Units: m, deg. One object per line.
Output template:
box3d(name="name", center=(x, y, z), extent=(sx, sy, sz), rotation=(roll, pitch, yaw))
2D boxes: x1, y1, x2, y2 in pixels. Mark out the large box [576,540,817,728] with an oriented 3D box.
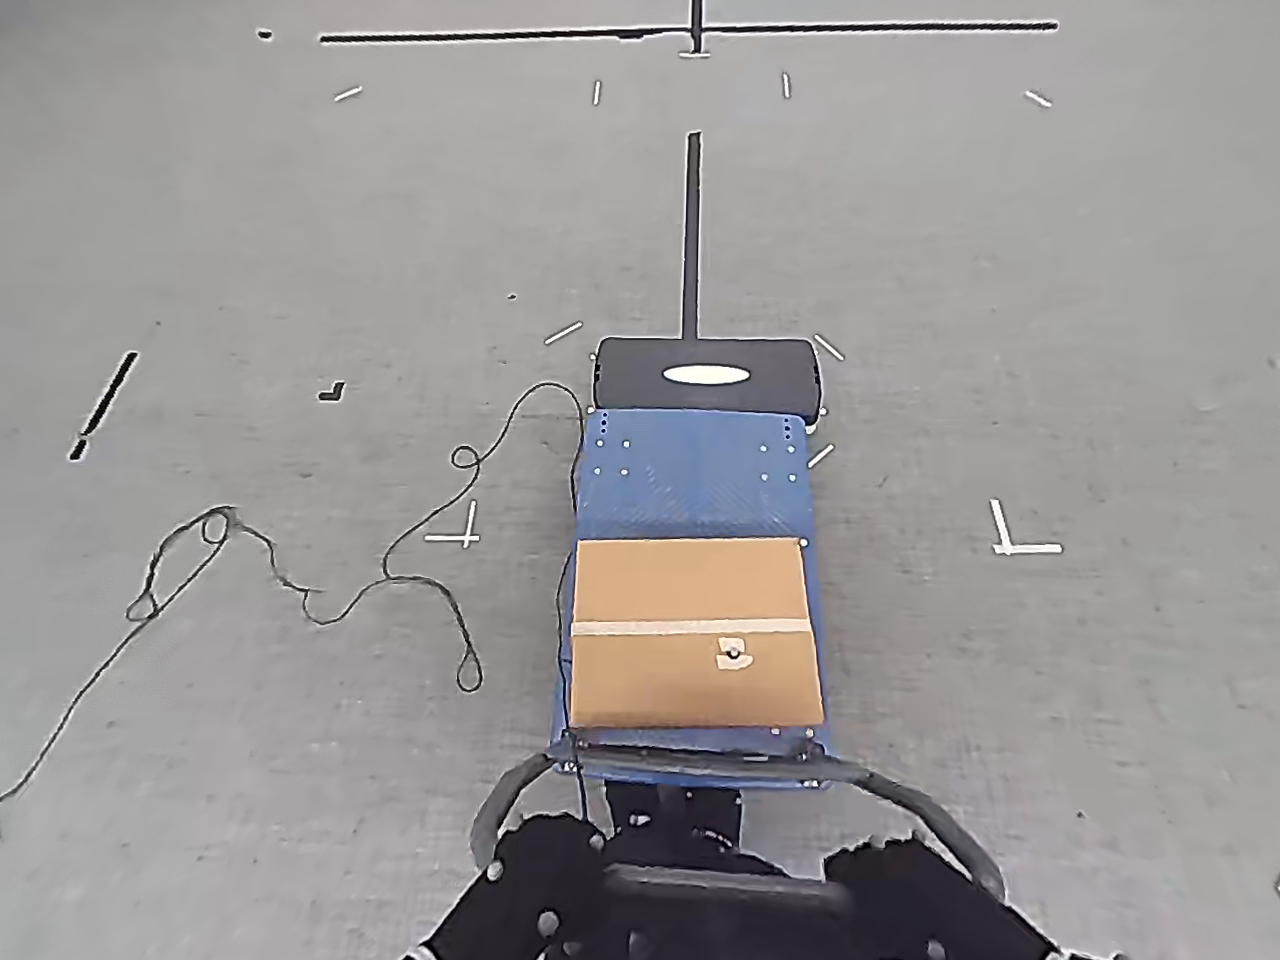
box3d(name="large box", center=(0.089, 0.317, 1.075), extent=(0.408, 0.320, 0.320), rotation=(-1, 66, 0))
